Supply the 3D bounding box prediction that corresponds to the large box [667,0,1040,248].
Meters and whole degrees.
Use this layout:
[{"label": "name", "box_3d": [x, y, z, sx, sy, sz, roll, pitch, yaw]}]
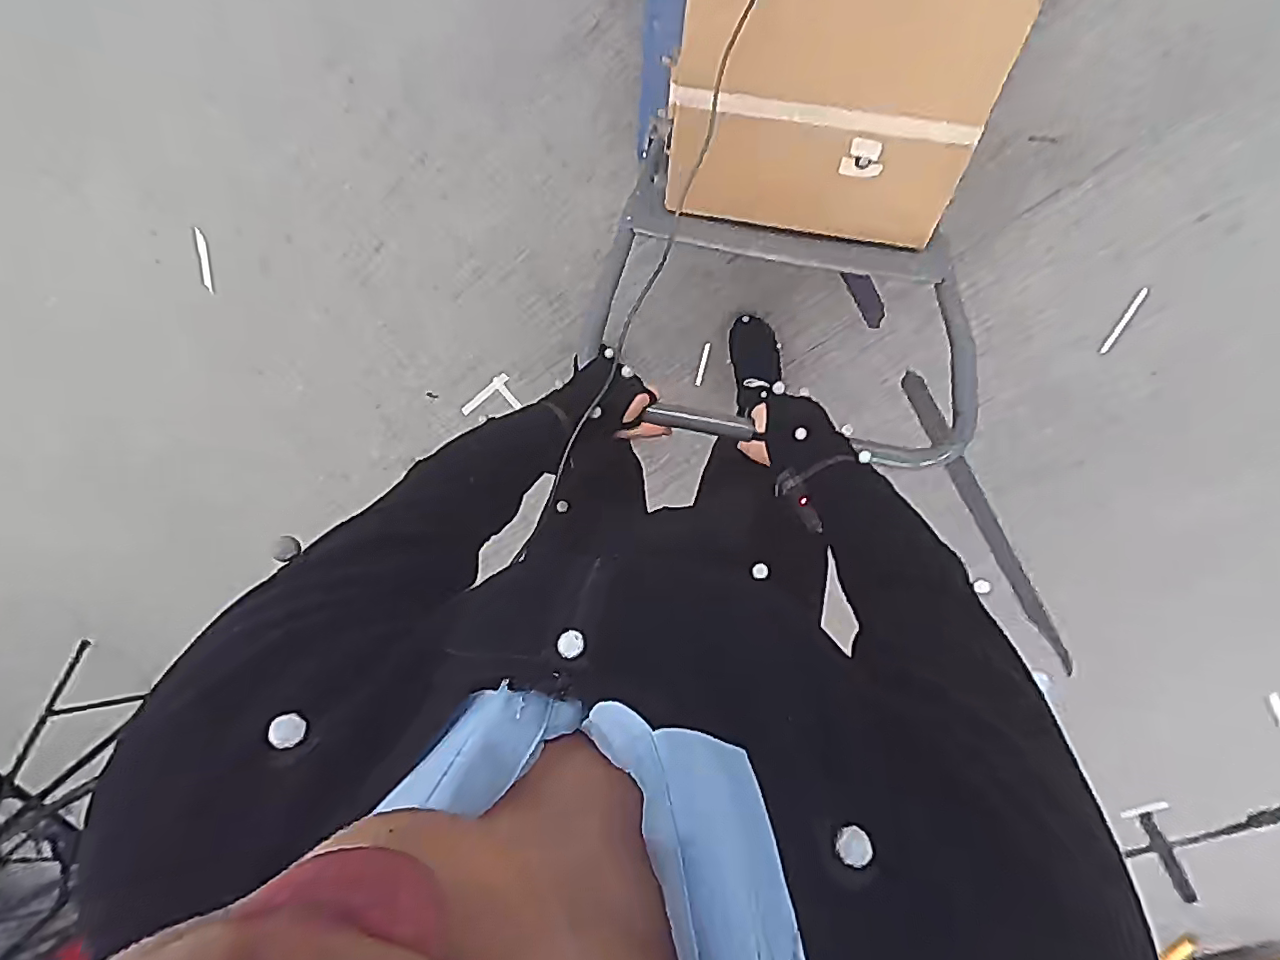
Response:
[{"label": "large box", "box_3d": [0.267, -0.592, 0.815, 0.408, 0.320, 0.320, 10, 140, 3]}]
